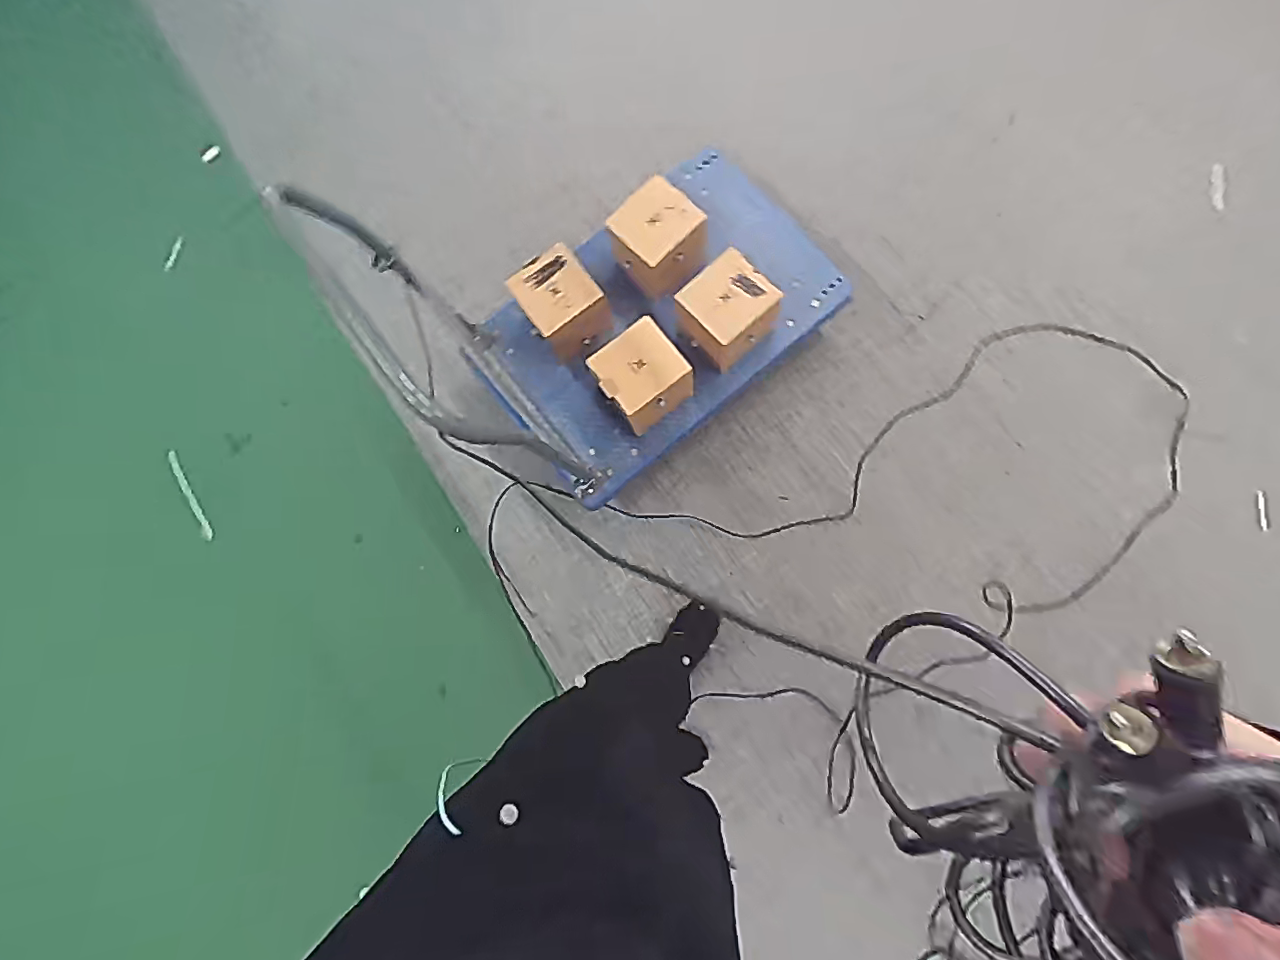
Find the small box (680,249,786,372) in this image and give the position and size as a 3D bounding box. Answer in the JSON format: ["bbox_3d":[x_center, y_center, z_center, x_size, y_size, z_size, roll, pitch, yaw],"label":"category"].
[{"bbox_3d":[0.210,-0.386,1.259,0.179,0.176,0.168,-40,78,-1],"label":"small box"}]

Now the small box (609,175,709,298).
[{"bbox_3d":[0.053,-0.579,1.310,0.179,0.176,0.168,-43,79,-2],"label":"small box"}]

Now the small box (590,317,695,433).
[{"bbox_3d":[0.010,-0.236,1.258,0.179,0.176,0.168,-37,78,0],"label":"small box"}]
